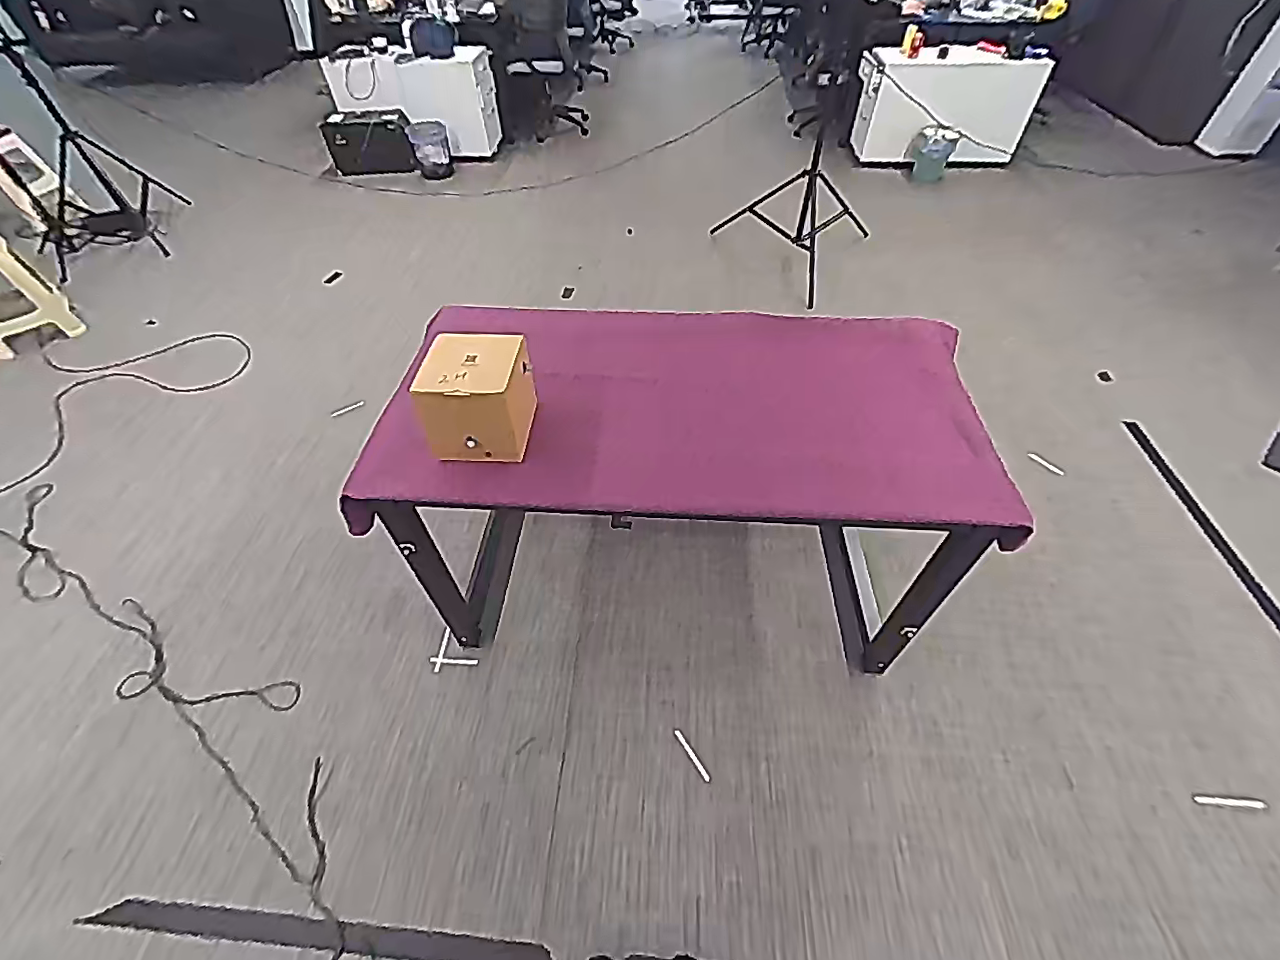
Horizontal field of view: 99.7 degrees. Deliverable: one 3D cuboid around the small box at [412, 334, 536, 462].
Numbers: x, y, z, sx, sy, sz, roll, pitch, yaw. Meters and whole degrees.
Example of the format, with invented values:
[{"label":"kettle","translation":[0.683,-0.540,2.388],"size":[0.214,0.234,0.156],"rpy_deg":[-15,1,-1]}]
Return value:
[{"label":"small box","translation":[-0.298,-0.155,1.019],"size":[0.168,0.176,0.179],"rpy_deg":[1,49,3]}]
